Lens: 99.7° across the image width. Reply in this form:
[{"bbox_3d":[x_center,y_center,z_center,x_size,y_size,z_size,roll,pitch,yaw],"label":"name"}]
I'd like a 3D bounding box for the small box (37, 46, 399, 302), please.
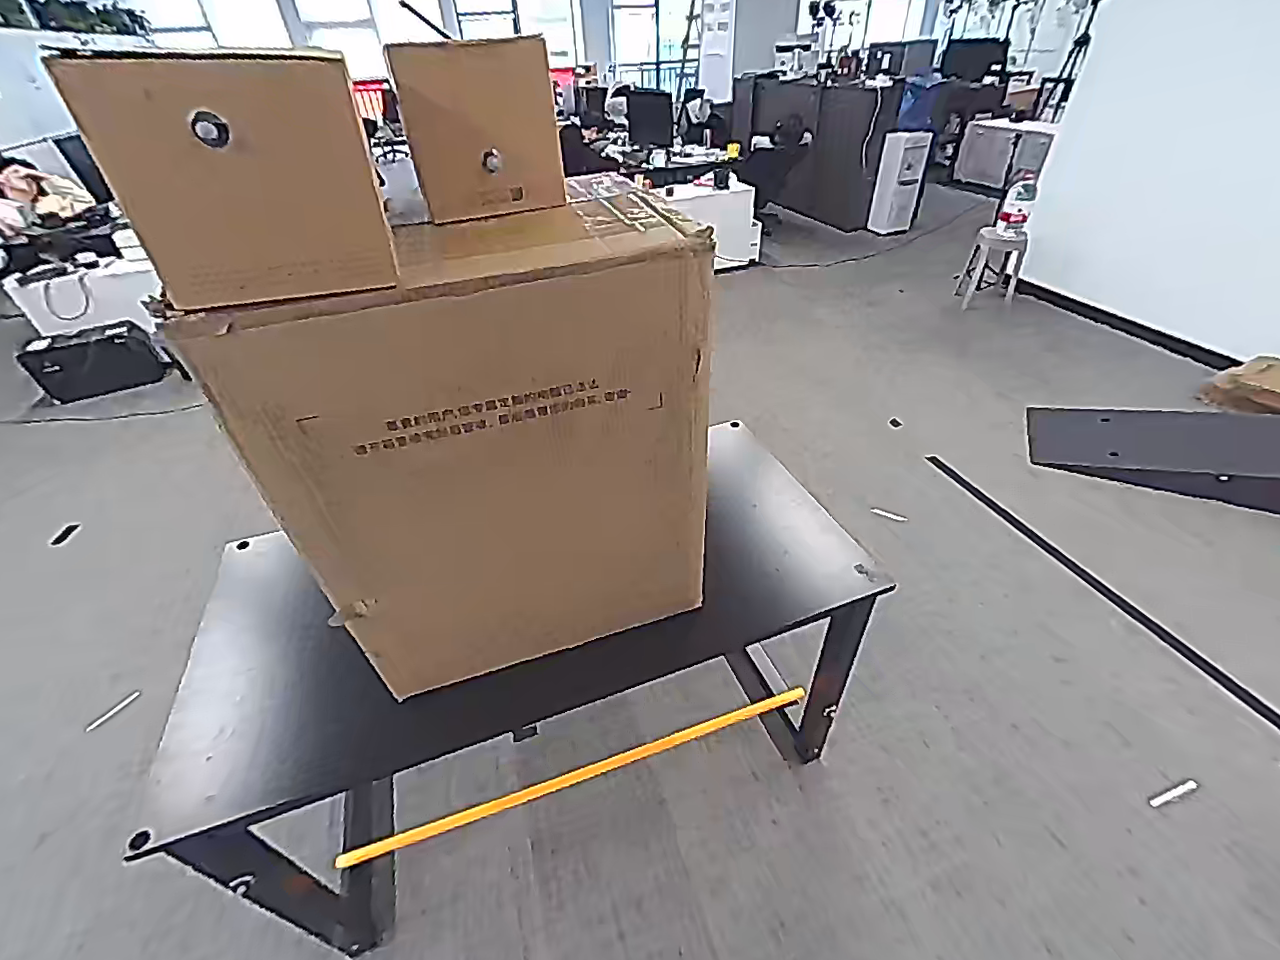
[{"bbox_3d":[-0.326,-0.265,0.468,0.179,0.176,0.168,-14,41,-18],"label":"small box"}]

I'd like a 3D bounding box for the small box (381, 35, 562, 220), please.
[{"bbox_3d":[-0.205,-0.431,0.666,0.168,0.176,0.179,-17,39,-15],"label":"small box"}]
